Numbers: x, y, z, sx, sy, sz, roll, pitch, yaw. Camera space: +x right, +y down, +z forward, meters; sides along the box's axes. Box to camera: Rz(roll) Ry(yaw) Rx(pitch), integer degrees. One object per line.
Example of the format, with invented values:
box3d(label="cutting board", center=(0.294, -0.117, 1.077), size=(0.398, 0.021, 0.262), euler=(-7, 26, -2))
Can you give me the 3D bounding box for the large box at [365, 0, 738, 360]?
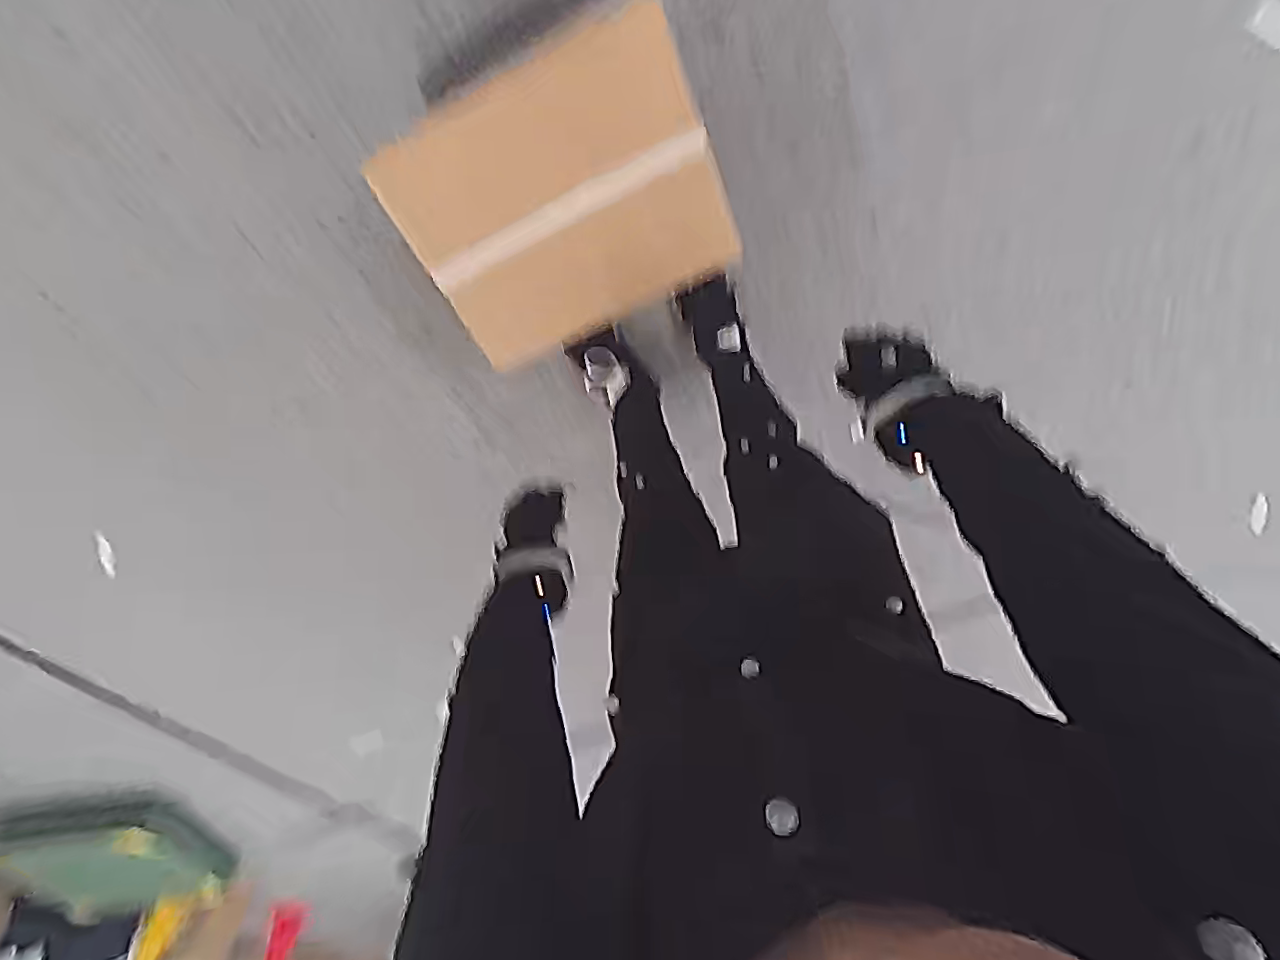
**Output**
box3d(label="large box", center=(-0.115, -0.453, 0.828), size=(0.408, 0.320, 0.320), euler=(-22, 127, 11))
